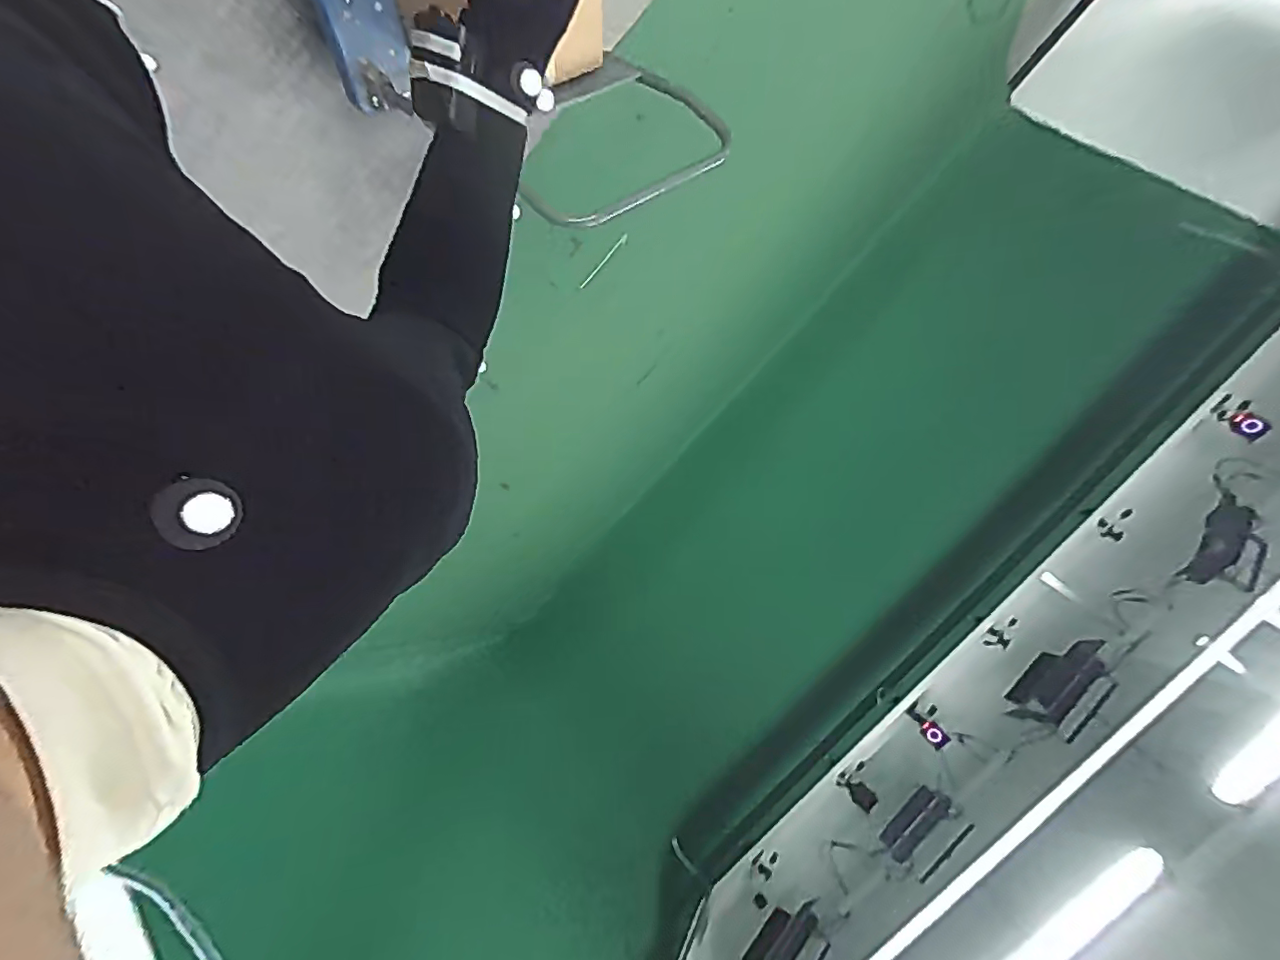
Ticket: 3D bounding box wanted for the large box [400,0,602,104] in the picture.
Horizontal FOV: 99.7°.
[{"bbox_3d":[-0.293,-1.050,1.046,0.320,0.320,0.408,-38,158,-22],"label":"large box"}]
